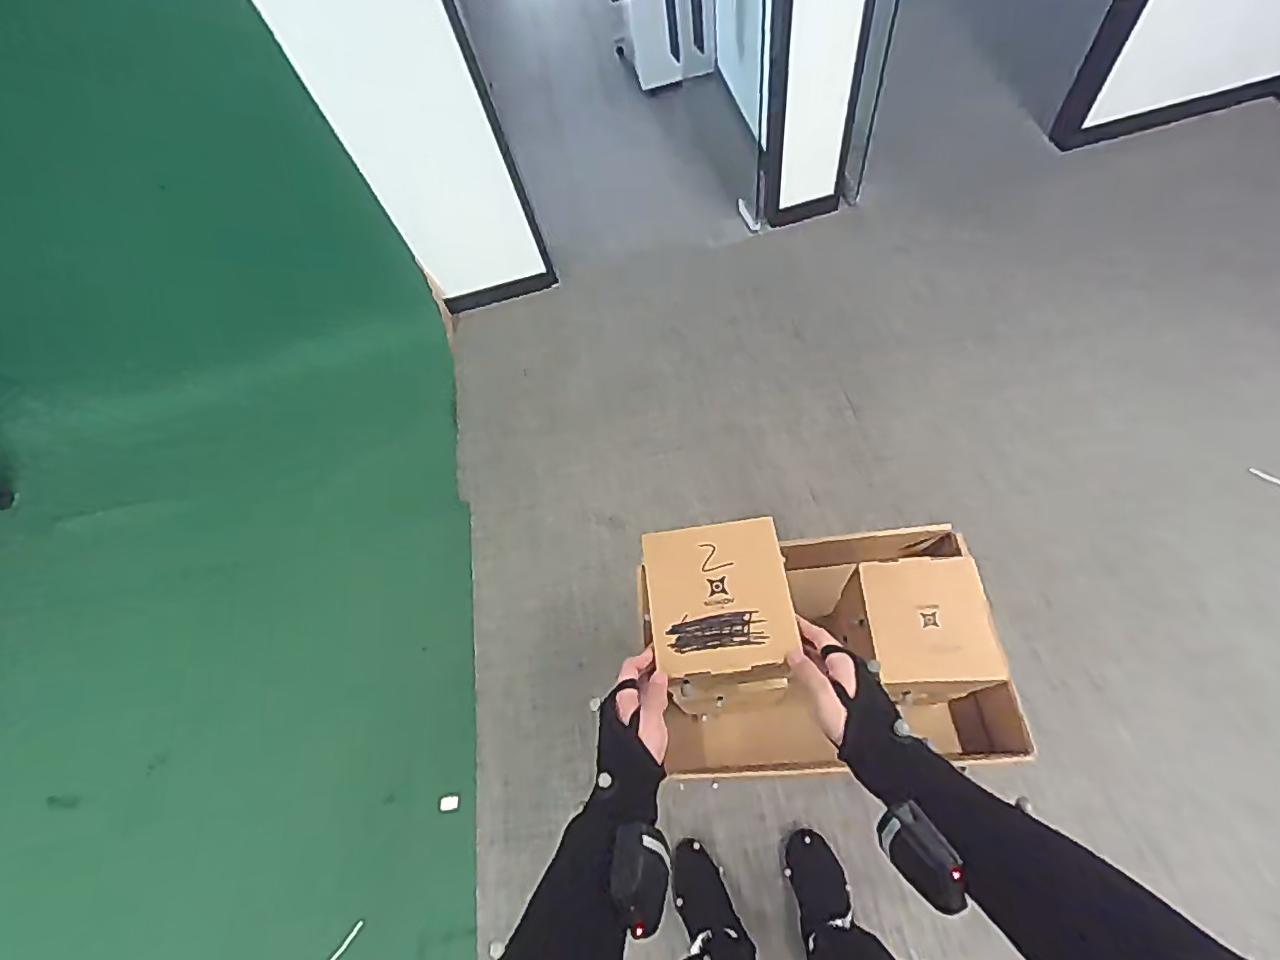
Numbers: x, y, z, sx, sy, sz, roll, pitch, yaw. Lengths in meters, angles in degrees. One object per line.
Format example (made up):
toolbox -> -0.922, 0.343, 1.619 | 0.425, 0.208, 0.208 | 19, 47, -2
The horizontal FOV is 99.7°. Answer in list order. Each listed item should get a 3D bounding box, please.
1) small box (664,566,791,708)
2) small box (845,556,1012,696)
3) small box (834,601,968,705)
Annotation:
small box -> 0.135, 0.256, 0.866 | 0.168, 0.176, 0.179 | -9, 61, 6
small box -> 0.424, 0.228, 0.830 | 0.168, 0.176, 0.179 | -4, 62, 9
small box -> 0.454, 0.302, 0.973 | 0.168, 0.176, 0.179 | -3, 63, 9
